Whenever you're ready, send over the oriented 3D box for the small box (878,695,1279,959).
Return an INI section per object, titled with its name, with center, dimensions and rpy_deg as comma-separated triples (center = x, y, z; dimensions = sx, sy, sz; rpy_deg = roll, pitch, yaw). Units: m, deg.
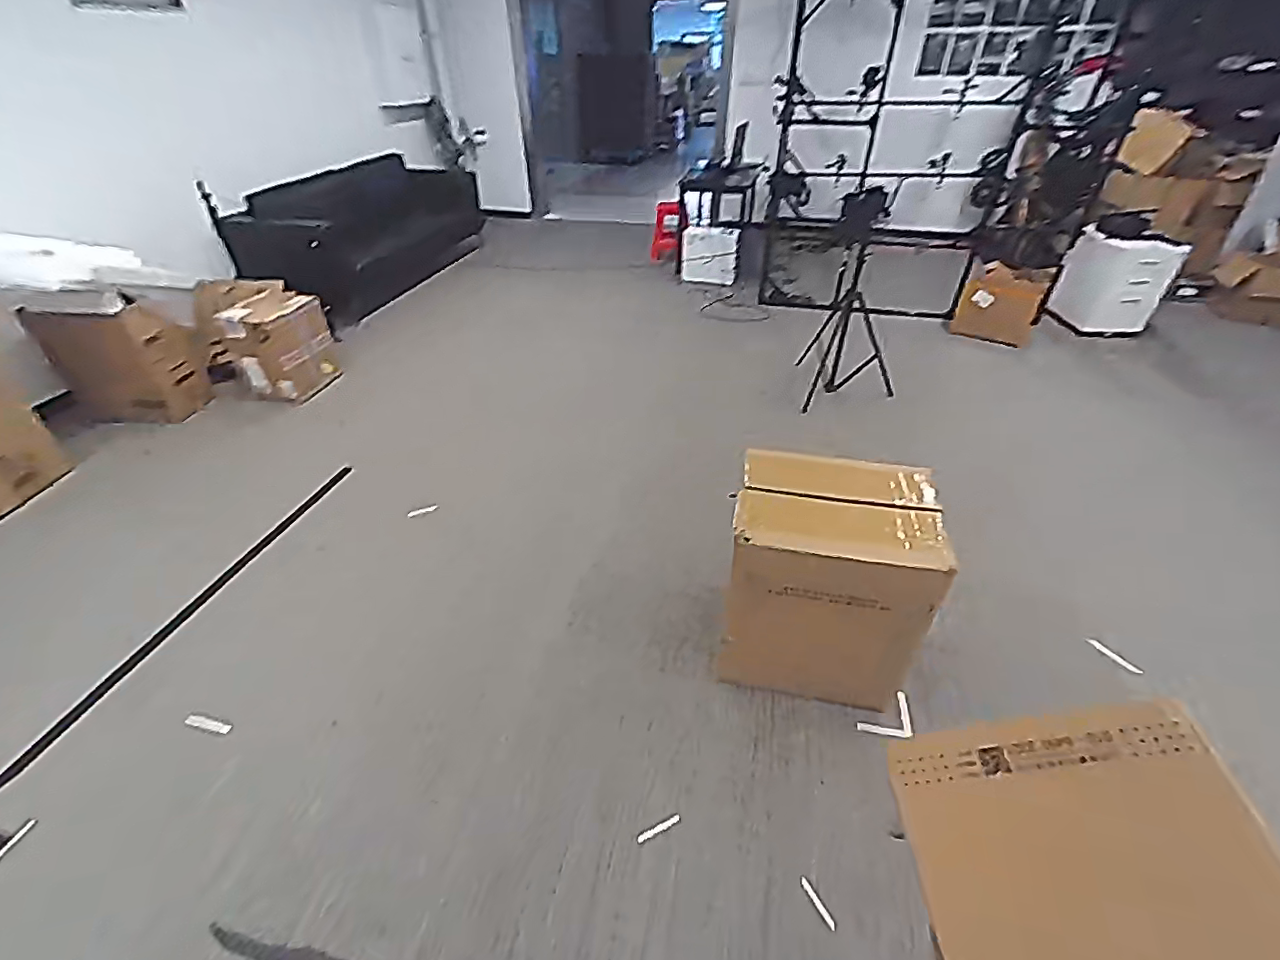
[small box]
center = 0.266, 0.249, 0.335
dimensions = 0.168, 0.179, 0.176
rpy_deg = -20, 47, 18
